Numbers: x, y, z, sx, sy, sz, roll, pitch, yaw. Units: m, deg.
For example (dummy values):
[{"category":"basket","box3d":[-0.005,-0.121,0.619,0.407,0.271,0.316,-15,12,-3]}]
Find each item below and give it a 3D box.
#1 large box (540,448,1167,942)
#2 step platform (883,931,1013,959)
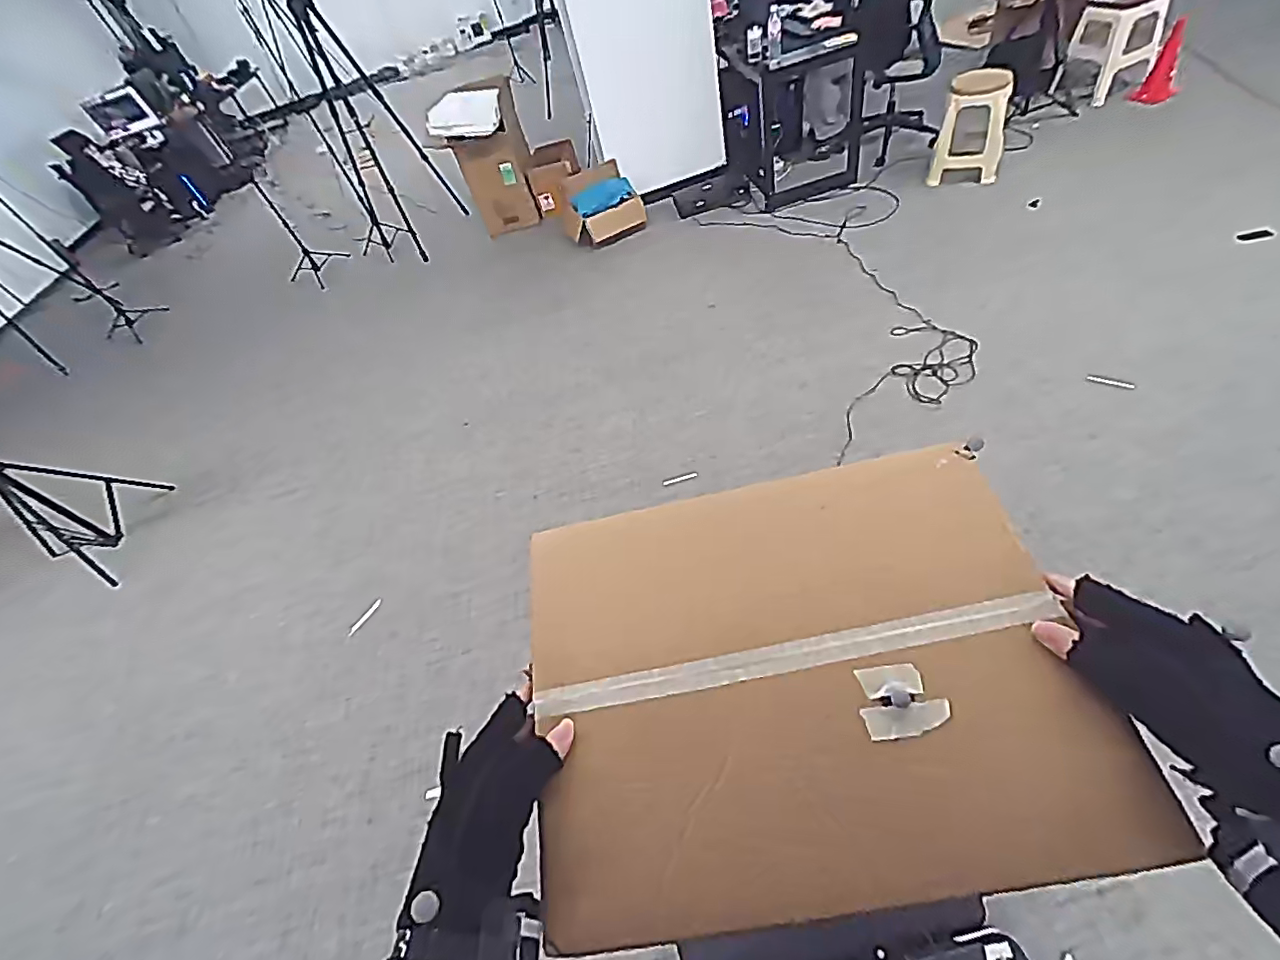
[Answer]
[{"category":"large box","box3d":[0.142,0.219,0.554,0.408,0.320,0.320,-13,57,5]},{"category":"step platform","box3d":[0.426,1.108,1.013,0.684,0.204,0.286,-19,48,4]}]
